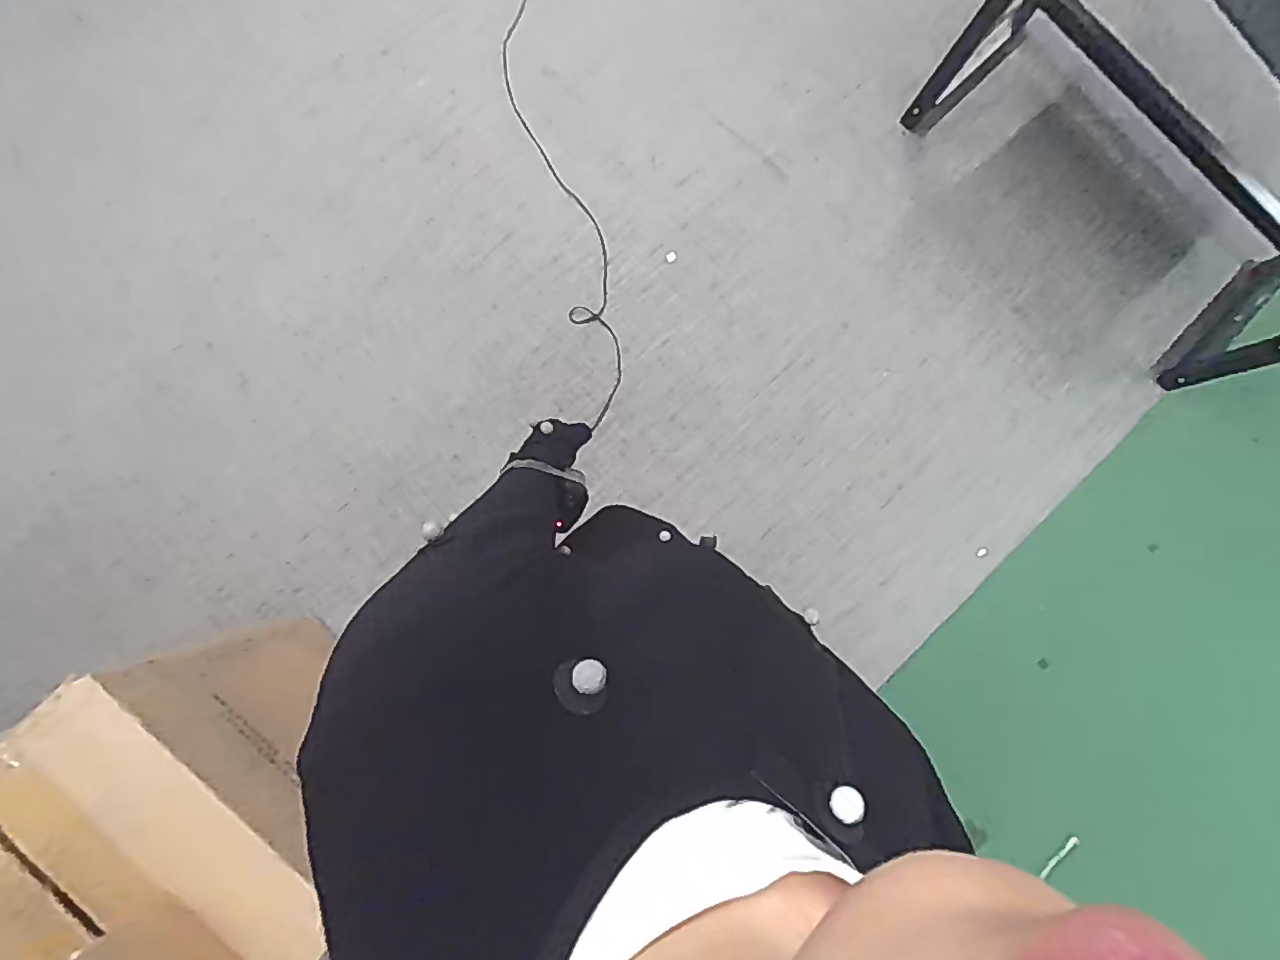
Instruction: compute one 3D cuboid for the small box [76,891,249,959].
[{"bbox_3d":[-0.620,0.652,0.646,0.179,0.176,0.168,43,73,1],"label":"small box"}]
